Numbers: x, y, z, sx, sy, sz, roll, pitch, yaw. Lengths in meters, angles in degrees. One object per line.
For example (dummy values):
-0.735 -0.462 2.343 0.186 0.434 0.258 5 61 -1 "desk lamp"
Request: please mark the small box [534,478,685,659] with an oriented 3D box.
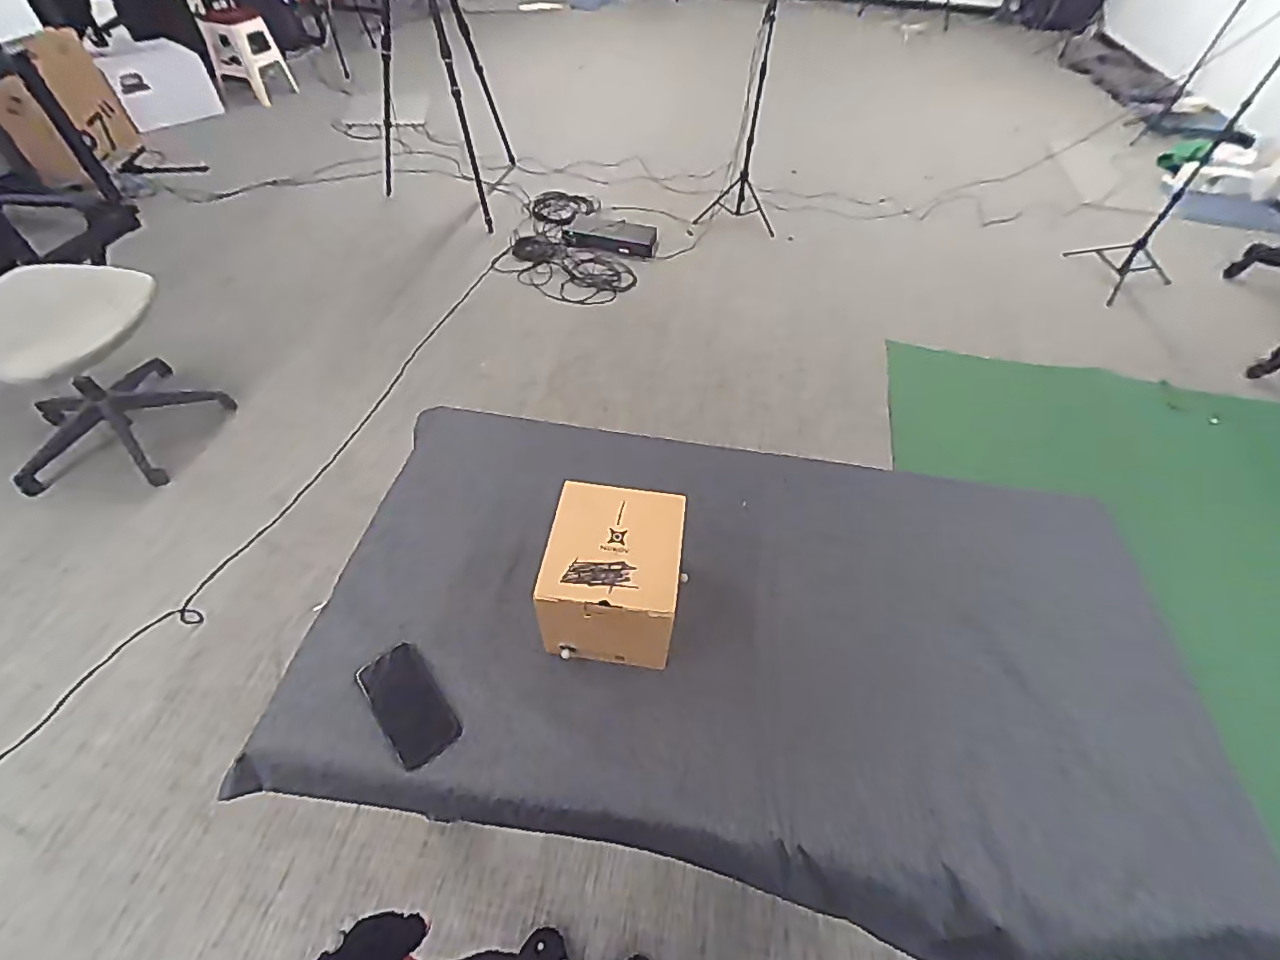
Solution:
-0.035 0.125 0.734 0.168 0.176 0.179 8 50 2 "small box"
